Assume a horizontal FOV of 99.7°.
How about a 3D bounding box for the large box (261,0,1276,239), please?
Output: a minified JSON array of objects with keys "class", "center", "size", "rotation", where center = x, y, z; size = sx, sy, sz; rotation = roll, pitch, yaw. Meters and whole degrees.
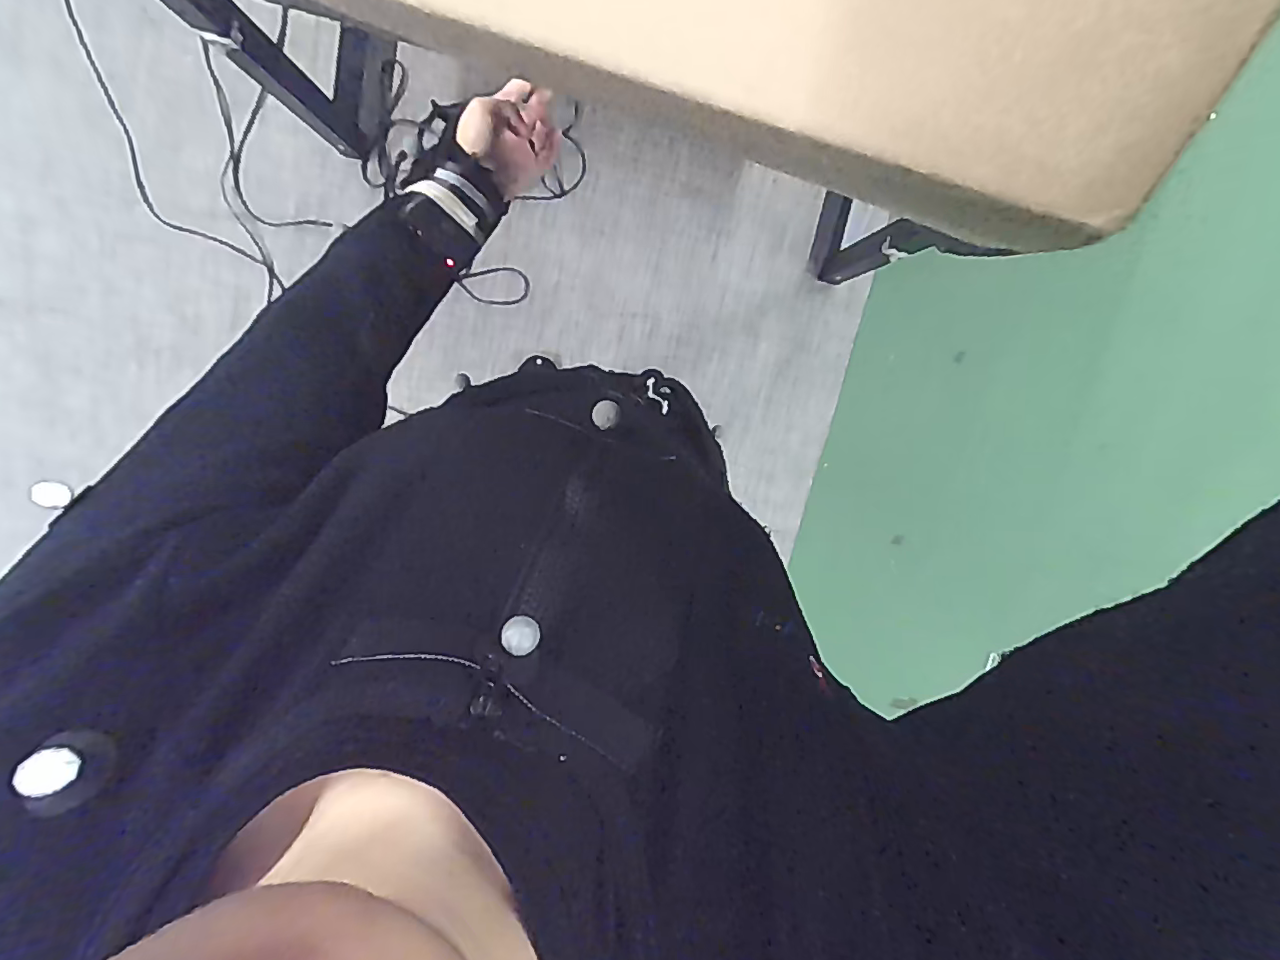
[{"class":"large box","center":[0.061,-0.334,0.245],"size":[0.408,0.320,0.320],"rotation":[25,121,13]}]
